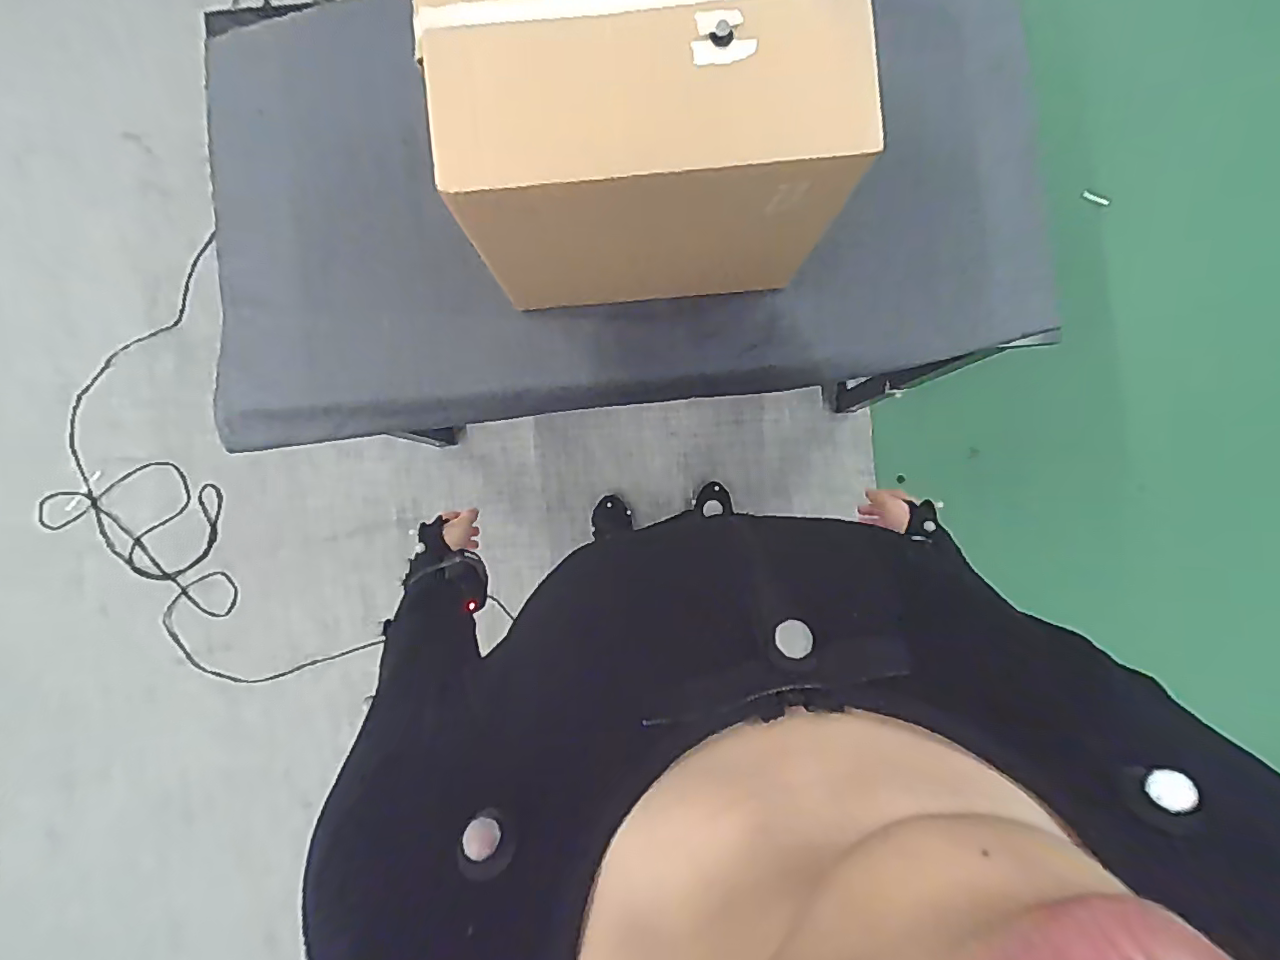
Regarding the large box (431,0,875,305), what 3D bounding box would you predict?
[{"bbox_3d":[0.004,-0.431,0.651,0.408,0.320,0.320,-6,89,0],"label":"large box"}]
